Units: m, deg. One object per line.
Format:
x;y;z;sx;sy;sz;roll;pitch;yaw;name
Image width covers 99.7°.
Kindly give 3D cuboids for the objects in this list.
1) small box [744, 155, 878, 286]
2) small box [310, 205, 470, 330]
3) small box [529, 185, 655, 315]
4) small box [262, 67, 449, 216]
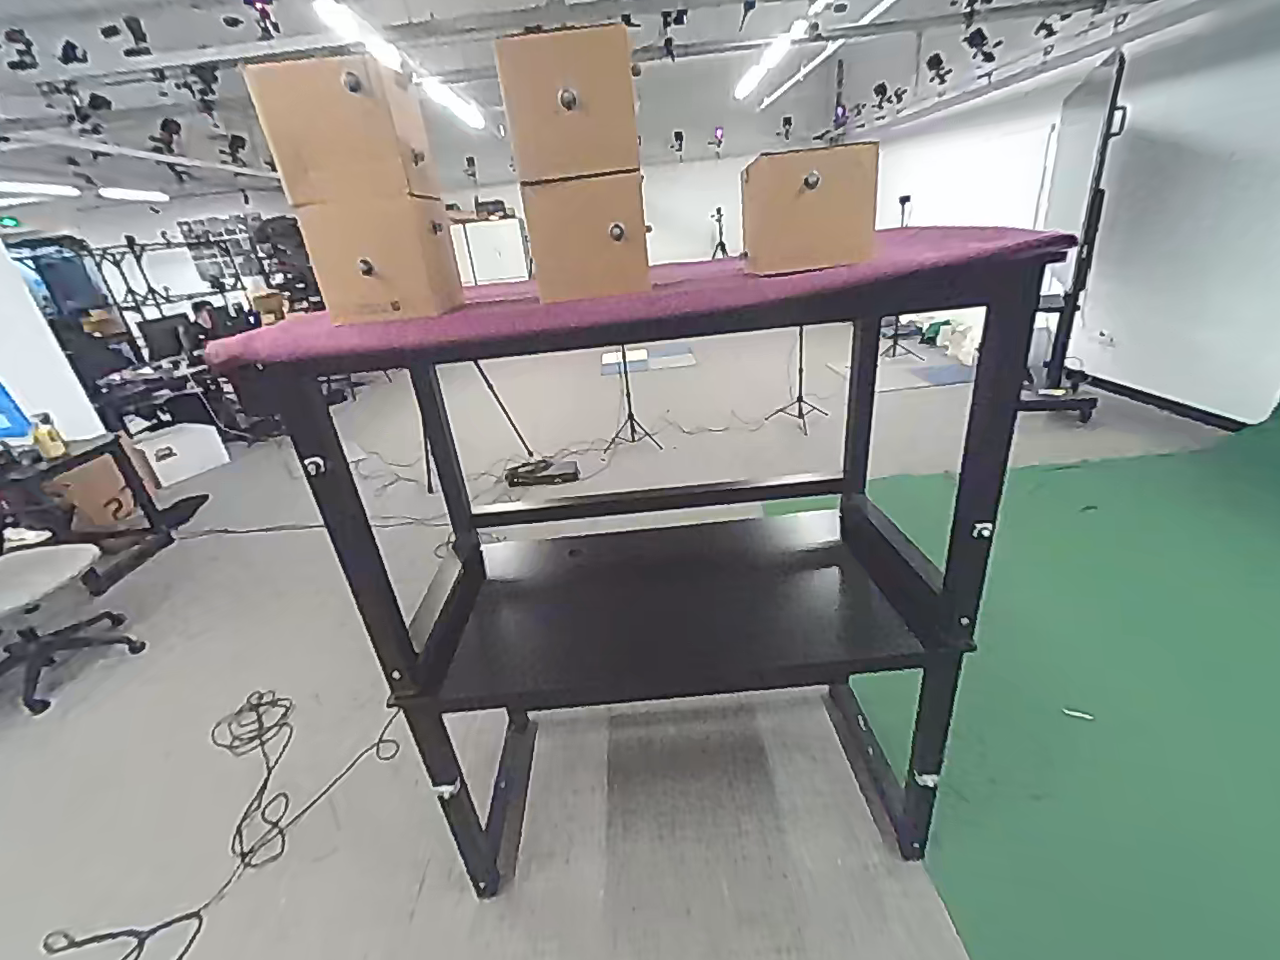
0.277;-0.420;0.899;0.179;0.176;0.168;-5;22;2;small box
-0.389;-0.343;0.881;0.168;0.176;0.179;-5;24;-1;small box
-0.069;-0.374;0.884;0.179;0.176;0.168;-7;23;0;small box
-0.409;-0.489;0.813;0.179;0.176;0.168;-6;25;-3;small box
